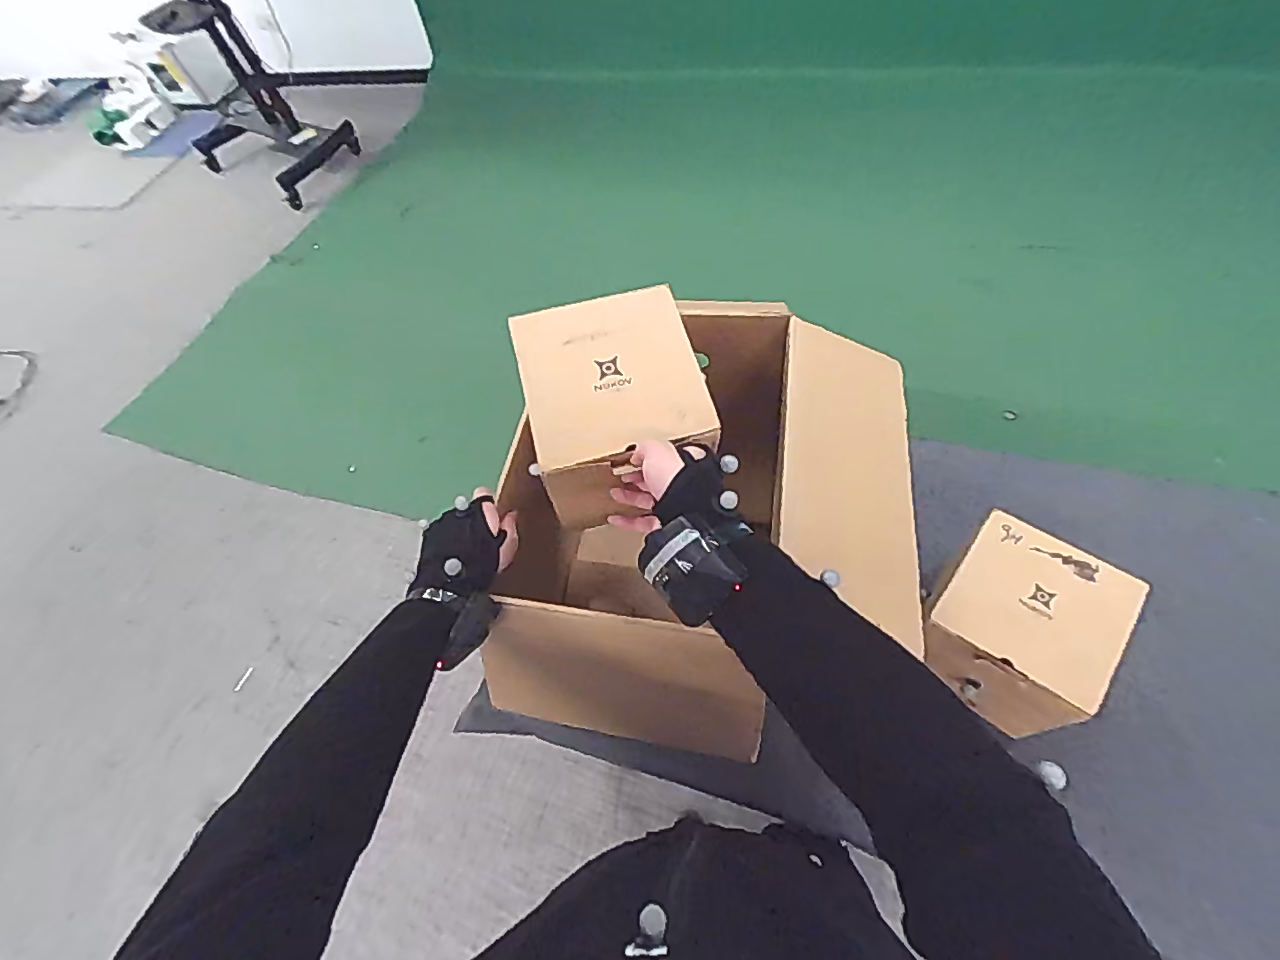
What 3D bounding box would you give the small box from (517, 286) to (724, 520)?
[{"bbox_3d":[-0.022,-0.070,0.580,0.168,0.176,0.179,-14,66,-7],"label":"small box"}]
